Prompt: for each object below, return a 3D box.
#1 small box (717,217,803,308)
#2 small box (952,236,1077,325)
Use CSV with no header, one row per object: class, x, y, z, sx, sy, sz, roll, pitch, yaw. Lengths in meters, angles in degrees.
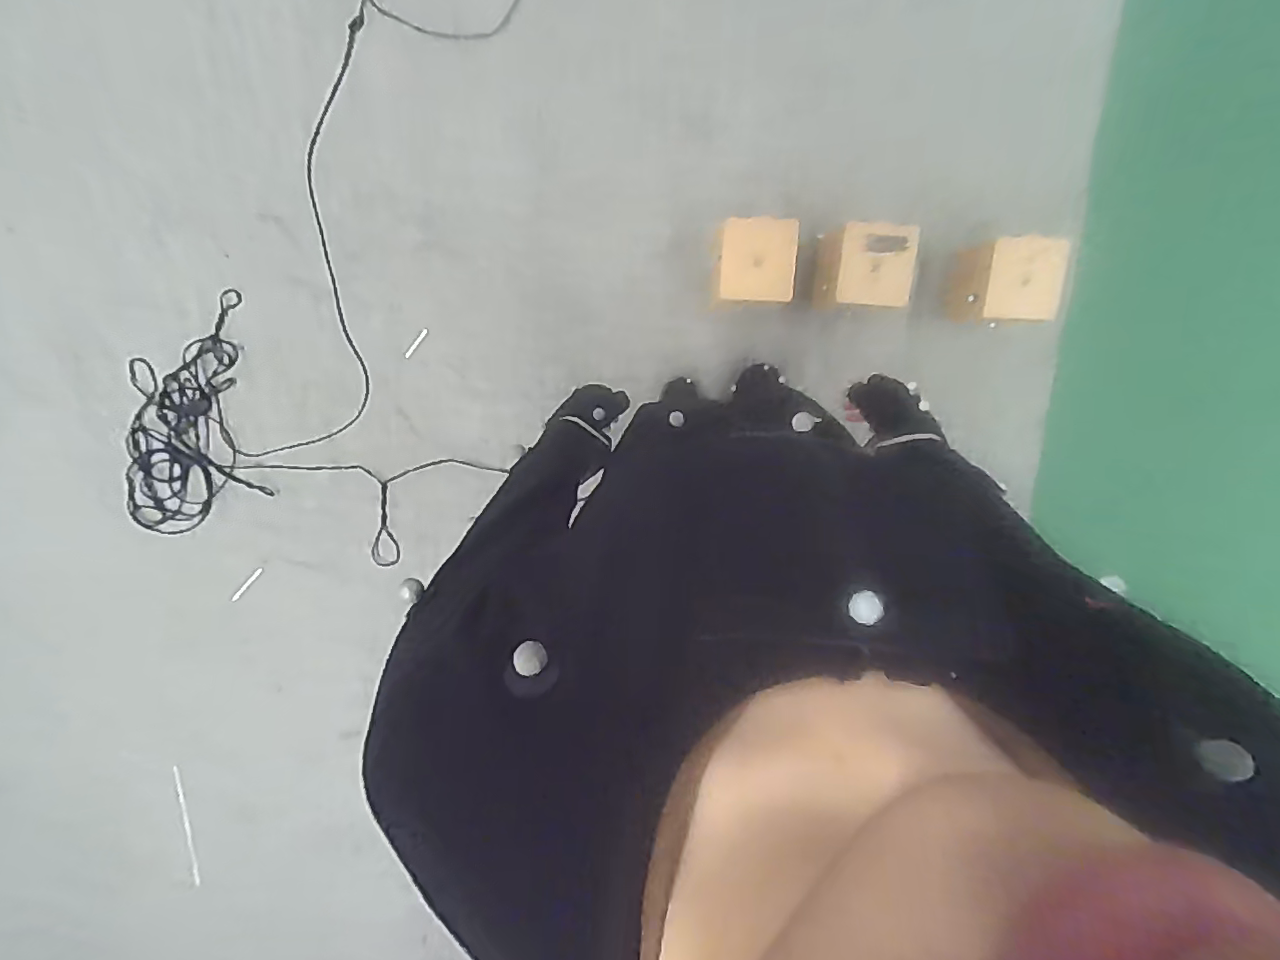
small box,0.275,-0.504,1.273,0.168,0.176,0.179,2,102,2
small box,0.863,-0.460,1.265,0.168,0.176,0.179,2,102,1
